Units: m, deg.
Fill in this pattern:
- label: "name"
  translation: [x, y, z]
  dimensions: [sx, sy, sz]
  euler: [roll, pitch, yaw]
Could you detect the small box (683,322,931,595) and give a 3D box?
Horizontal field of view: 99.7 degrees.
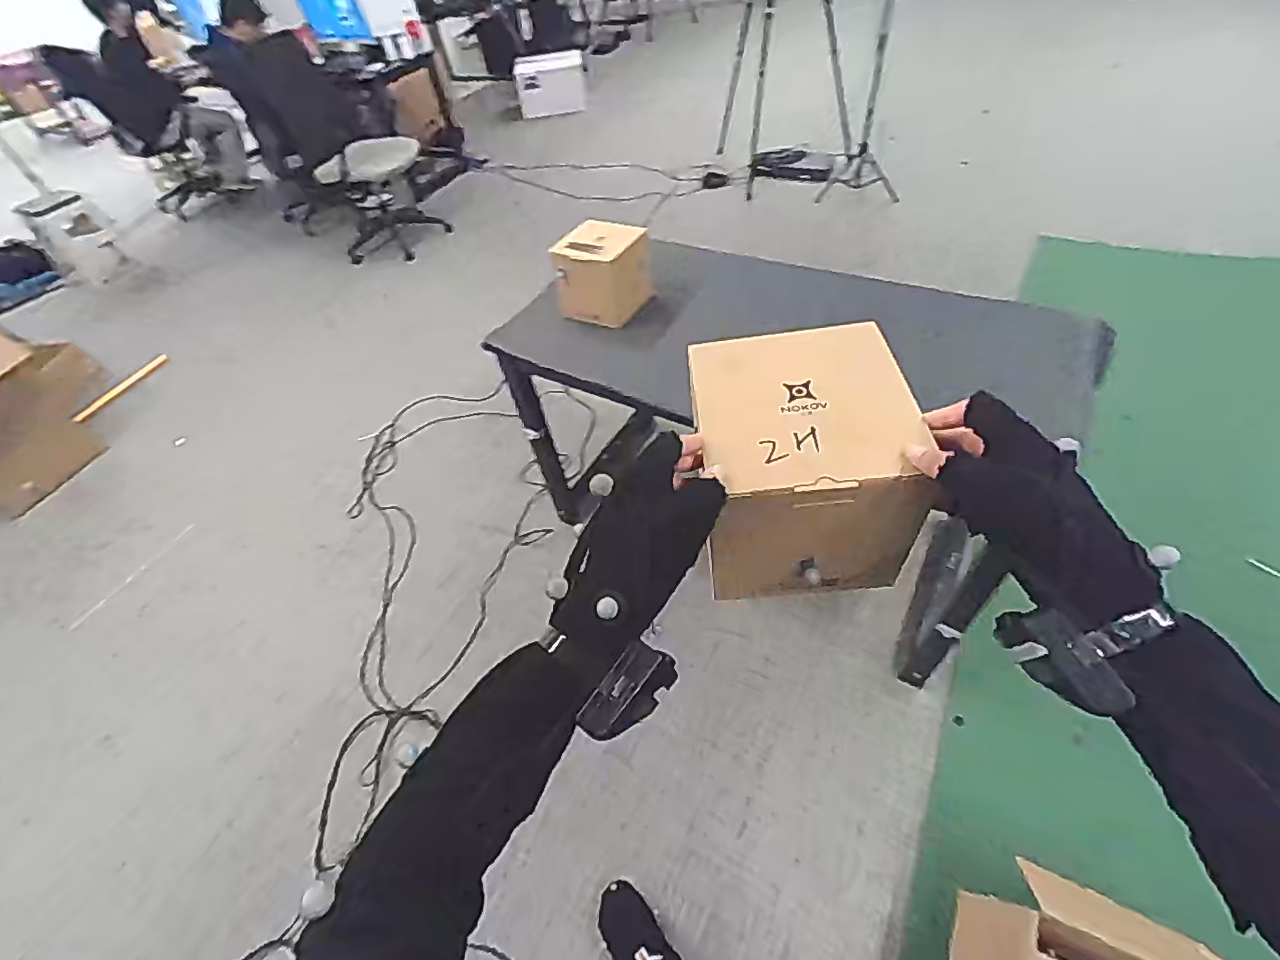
- label: "small box"
  translation: [0.130, -0.015, 0.495]
  dimensions: [0.168, 0.176, 0.179]
  euler: [-7, 52, 5]
